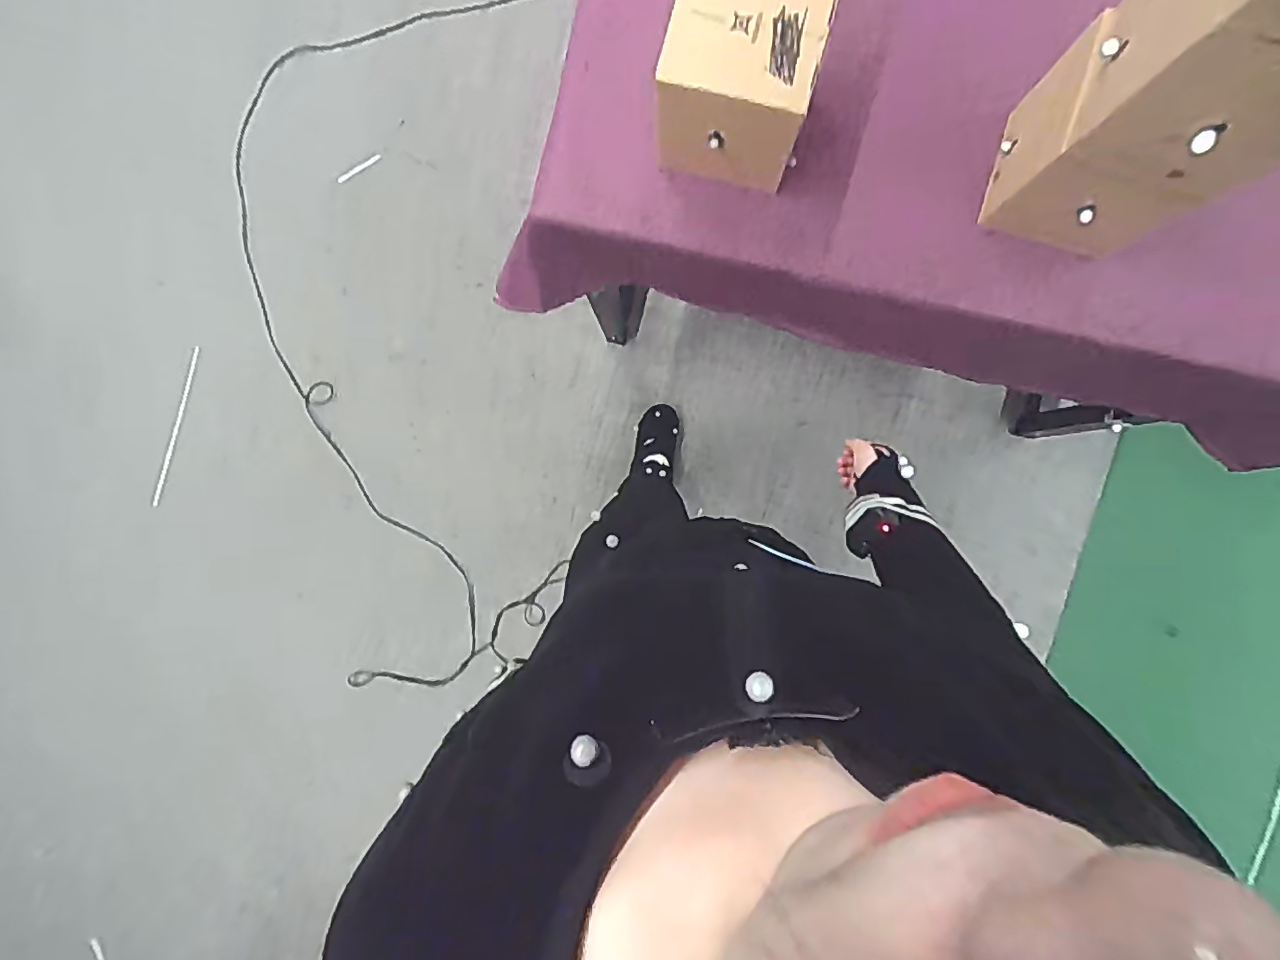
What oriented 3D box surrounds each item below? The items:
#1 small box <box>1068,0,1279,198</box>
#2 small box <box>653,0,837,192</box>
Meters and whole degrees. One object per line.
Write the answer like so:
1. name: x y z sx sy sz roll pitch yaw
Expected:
1. small box: 0.549 -0.398 0.496 0.168 0.176 0.179 20 91 3
2. small box: 0.123 -0.498 0.683 0.179 0.176 0.168 15 90 4
